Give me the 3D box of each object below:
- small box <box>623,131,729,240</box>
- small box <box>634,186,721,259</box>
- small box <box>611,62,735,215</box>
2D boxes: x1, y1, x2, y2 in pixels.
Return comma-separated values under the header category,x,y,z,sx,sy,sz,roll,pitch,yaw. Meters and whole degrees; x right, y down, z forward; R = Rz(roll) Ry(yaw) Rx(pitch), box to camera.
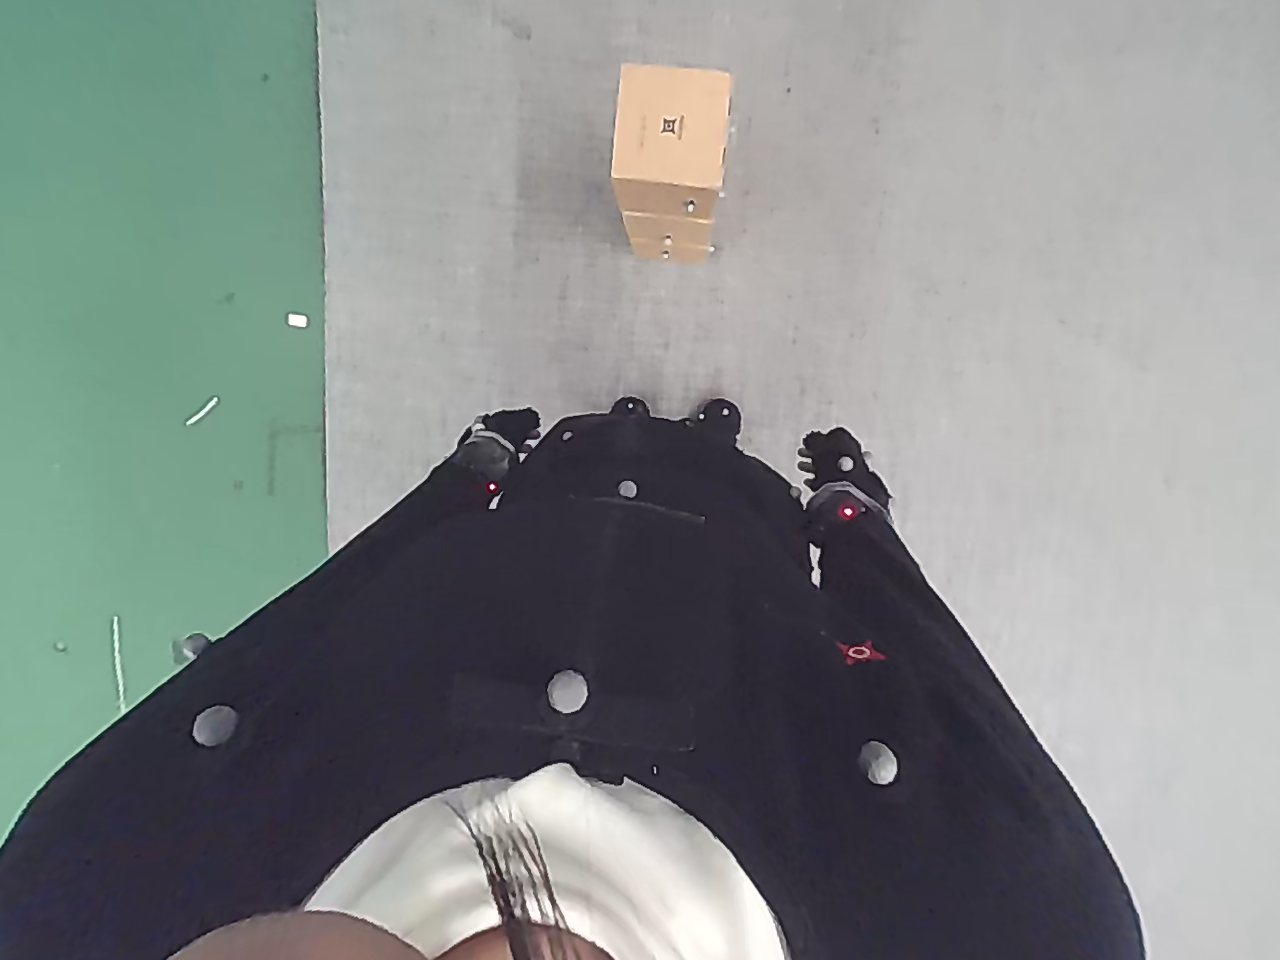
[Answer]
category,x,y,z,sx,sy,sz,roll,pitch,yaw
small box,0.068,-0.587,1.072,0.179,0.176,0.168,8,101,2
small box,0.084,-0.610,1.234,0.179,0.176,0.168,5,101,2
small box,0.055,-0.561,0.912,0.179,0.176,0.168,7,100,4
